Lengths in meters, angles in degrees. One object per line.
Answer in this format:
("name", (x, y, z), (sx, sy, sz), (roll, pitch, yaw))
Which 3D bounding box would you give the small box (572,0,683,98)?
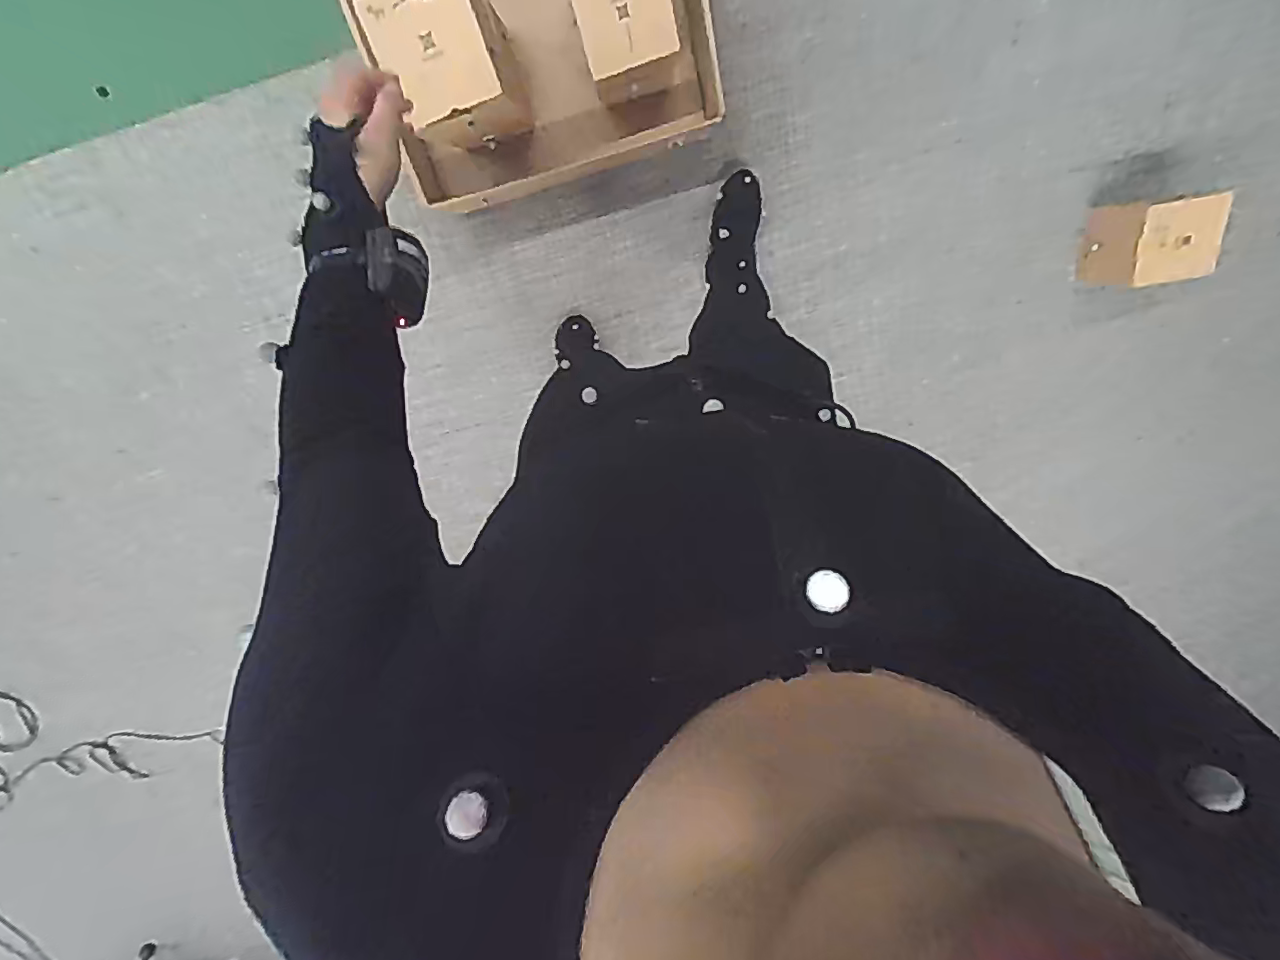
("small box", (-0.027, -0.835, 0.989), (0.168, 0.176, 0.179), (-15, 117, 7))

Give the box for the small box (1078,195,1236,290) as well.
("small box", (1.152, -0.537, 1.220), (0.179, 0.176, 0.168), (-9, 115, 3))

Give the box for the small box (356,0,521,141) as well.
("small box", (-0.310, -0.673, 0.880), (0.168, 0.176, 0.179), (-17, 117, 7))
